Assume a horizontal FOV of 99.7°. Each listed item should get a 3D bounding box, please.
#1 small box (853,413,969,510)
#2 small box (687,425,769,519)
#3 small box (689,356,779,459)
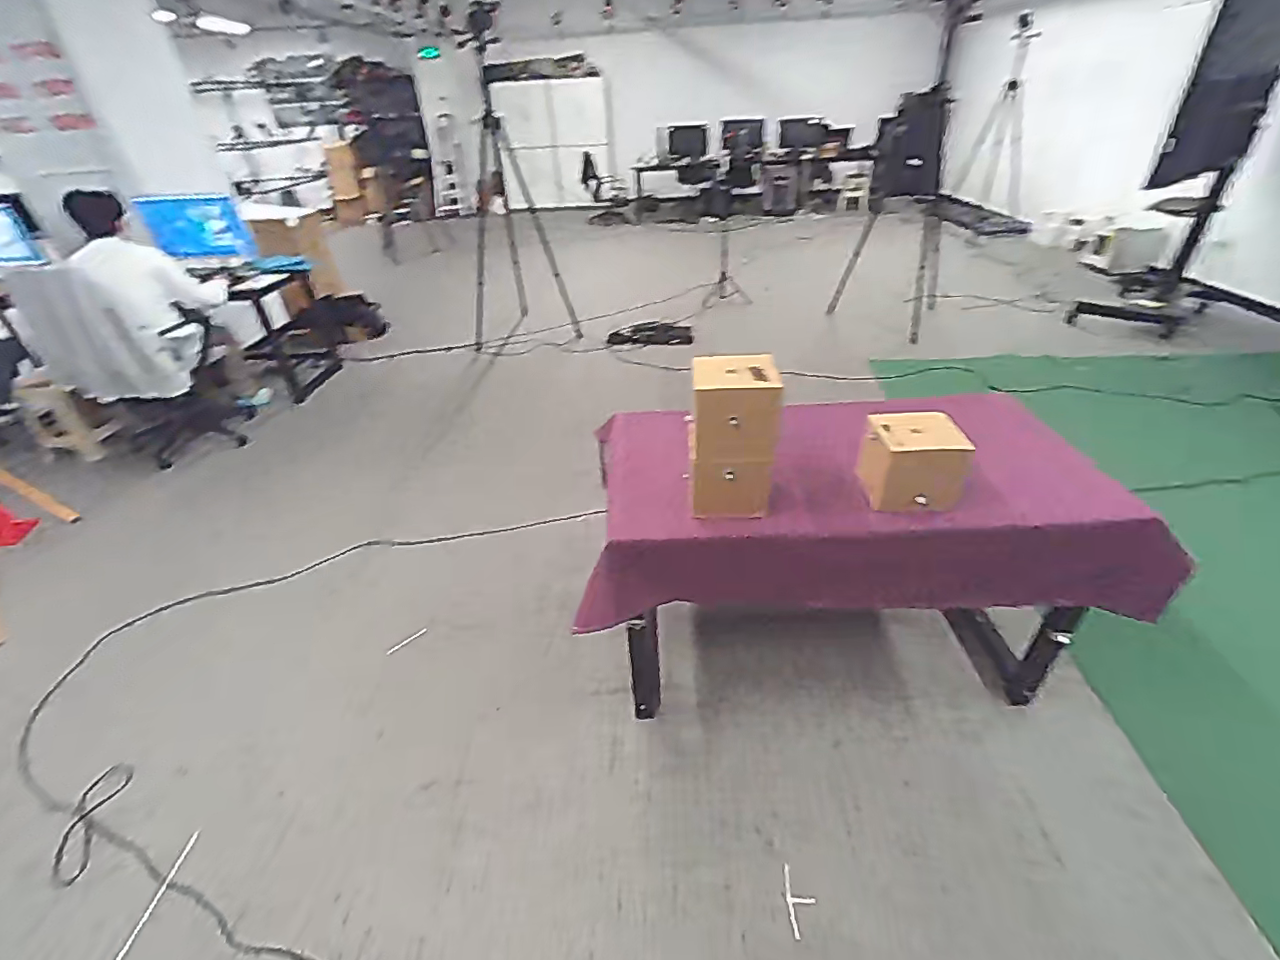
[{"bbox_3d":[0.620,-0.042,1.261,0.179,0.176,0.168,-1,35,3],"label":"small box"},{"bbox_3d":[0.199,-0.022,1.271,0.179,0.176,0.168,0,36,4],"label":"small box"},{"bbox_3d":[0.196,-0.158,1.179,0.179,0.176,0.168,-2,35,4],"label":"small box"}]
